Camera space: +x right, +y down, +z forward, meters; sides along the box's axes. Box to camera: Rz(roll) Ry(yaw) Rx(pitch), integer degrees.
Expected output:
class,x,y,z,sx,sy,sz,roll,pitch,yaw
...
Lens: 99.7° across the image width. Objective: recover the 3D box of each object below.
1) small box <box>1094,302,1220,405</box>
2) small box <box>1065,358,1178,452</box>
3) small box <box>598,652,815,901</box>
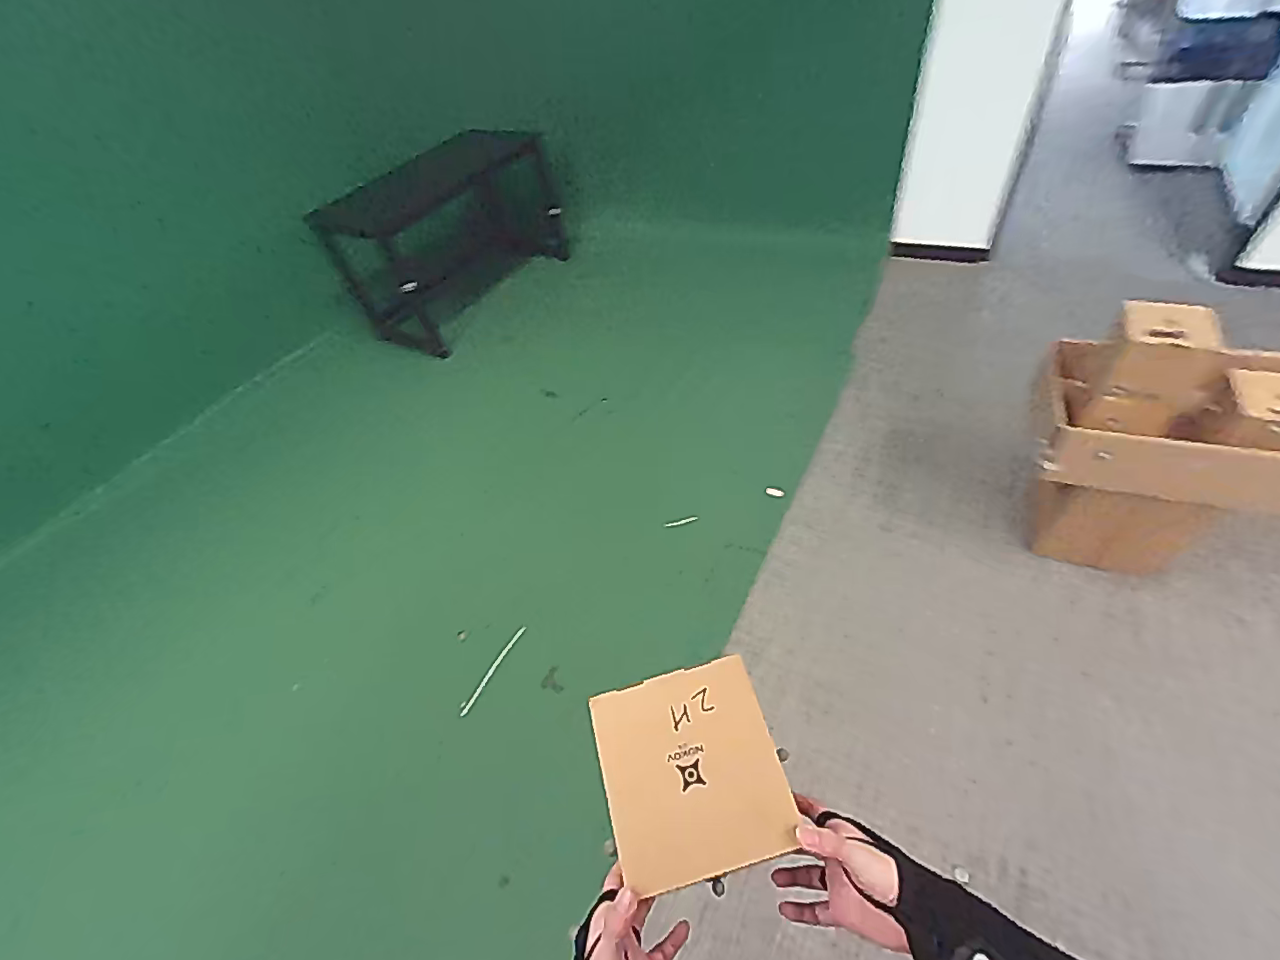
class,x,y,z,sx,sy,sz,roll,pitch,yaw
small box,1.239,-0.305,1.310,0.168,0.176,0.179,15,52,23
small box,1.262,-0.196,1.431,0.168,0.176,0.179,11,51,21
small box,0.062,0.307,0.562,0.168,0.176,0.179,-14,53,-2
